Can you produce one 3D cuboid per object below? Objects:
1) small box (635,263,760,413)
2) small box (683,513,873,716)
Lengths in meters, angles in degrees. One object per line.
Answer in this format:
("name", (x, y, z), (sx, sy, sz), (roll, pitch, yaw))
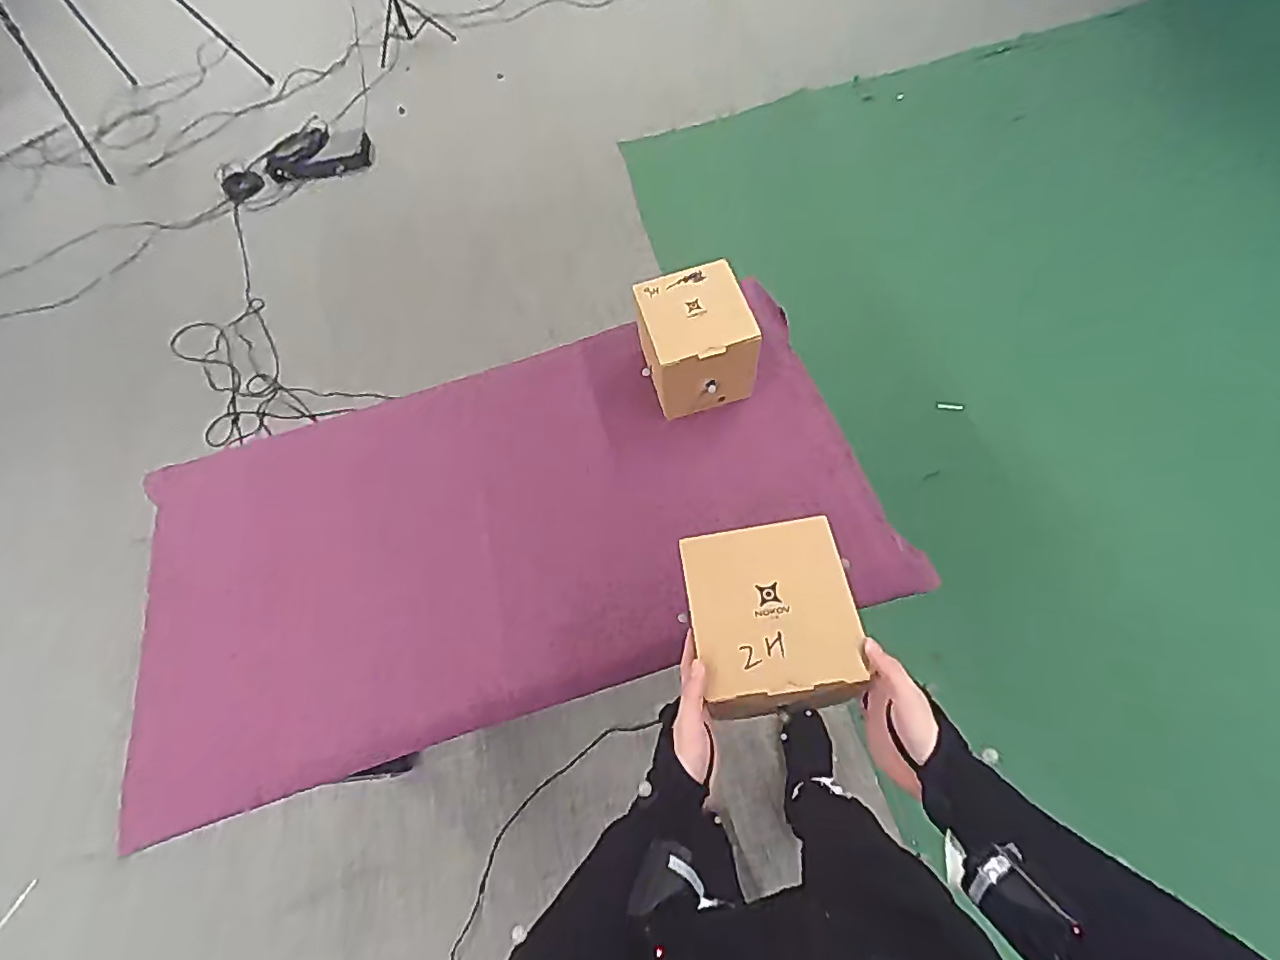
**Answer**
("small box", (0.098, -0.235, 0.940), (0.168, 0.176, 0.179), (-16, 66, -1))
("small box", (0.146, 0.161, 0.627), (0.168, 0.176, 0.179), (-10, 59, 6))
